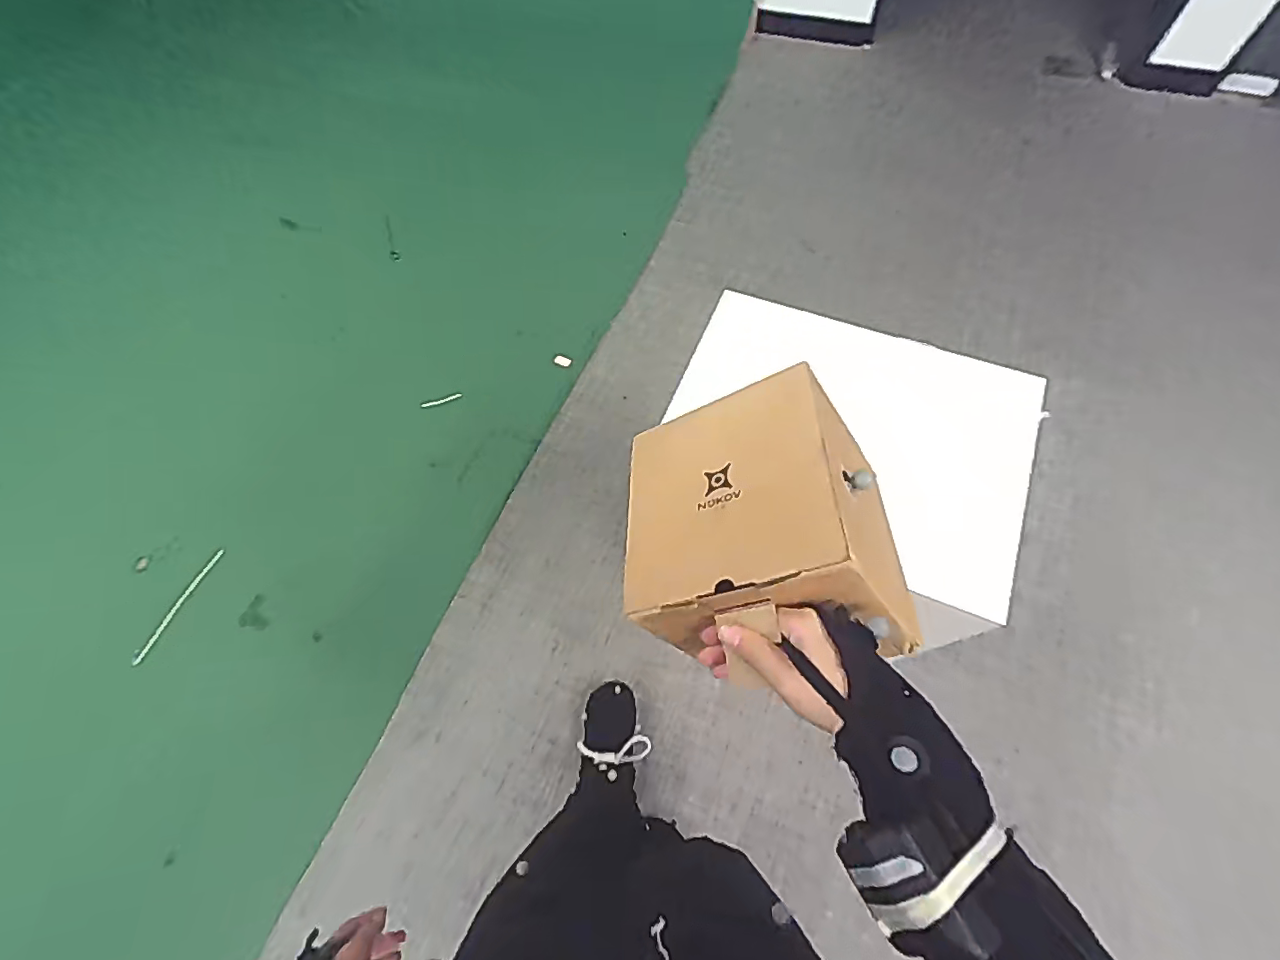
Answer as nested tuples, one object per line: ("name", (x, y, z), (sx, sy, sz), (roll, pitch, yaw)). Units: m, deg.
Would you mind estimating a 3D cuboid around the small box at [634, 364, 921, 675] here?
("small box", (0.113, 0.043, 0.453), (0.168, 0.176, 0.179), (-21, 47, 28))
